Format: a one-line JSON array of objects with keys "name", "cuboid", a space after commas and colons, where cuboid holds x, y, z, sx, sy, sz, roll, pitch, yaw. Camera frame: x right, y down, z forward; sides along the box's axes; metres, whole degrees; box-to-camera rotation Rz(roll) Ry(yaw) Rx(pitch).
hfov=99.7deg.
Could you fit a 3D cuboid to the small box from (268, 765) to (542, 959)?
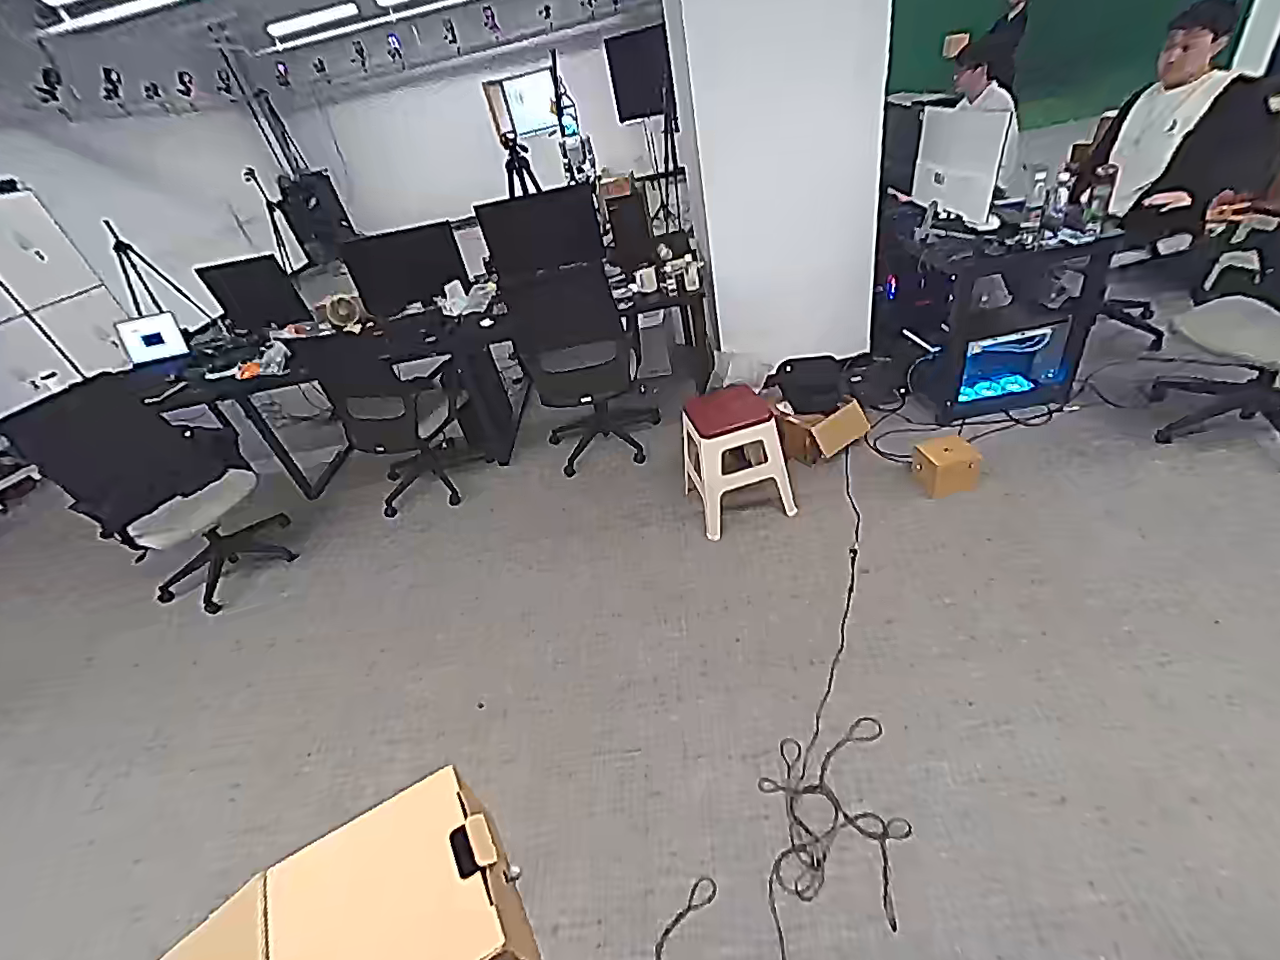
[{"name": "small box", "cuboid": [-0.214, 0.421, 0.513, 0.179, 0.176, 0.168, -24, 44, -19]}]
